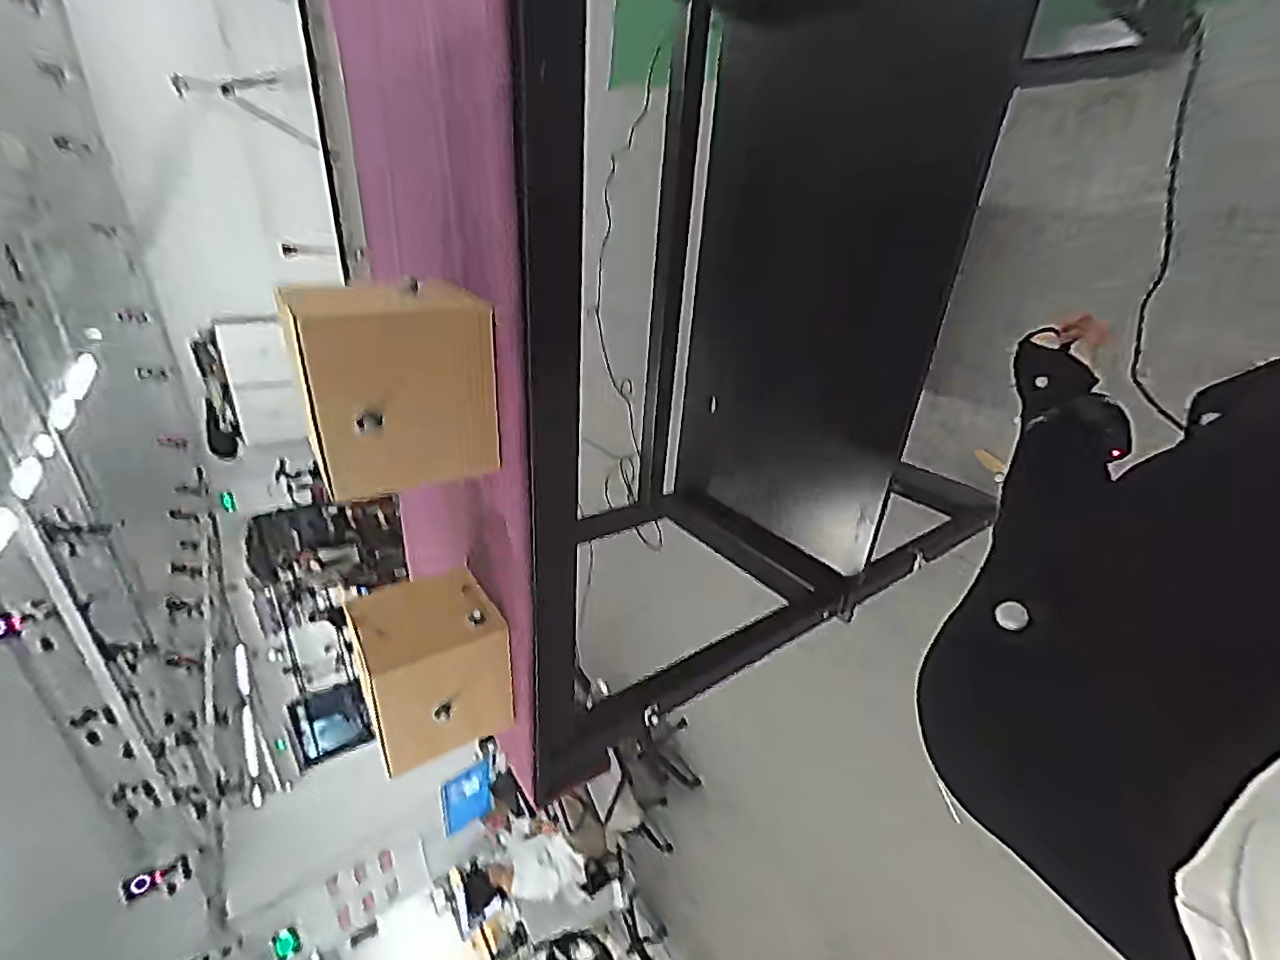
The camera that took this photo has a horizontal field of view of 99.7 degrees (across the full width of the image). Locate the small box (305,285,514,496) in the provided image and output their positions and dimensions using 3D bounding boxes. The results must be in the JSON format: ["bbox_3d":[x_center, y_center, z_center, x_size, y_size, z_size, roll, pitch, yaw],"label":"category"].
[{"bbox_3d":[-0.244,-0.109,0.590,0.168,0.176,0.179,36,131,46],"label":"small box"}]

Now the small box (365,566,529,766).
[{"bbox_3d":[-0.267,0.245,0.759,0.168,0.176,0.179,33,129,48],"label":"small box"}]
